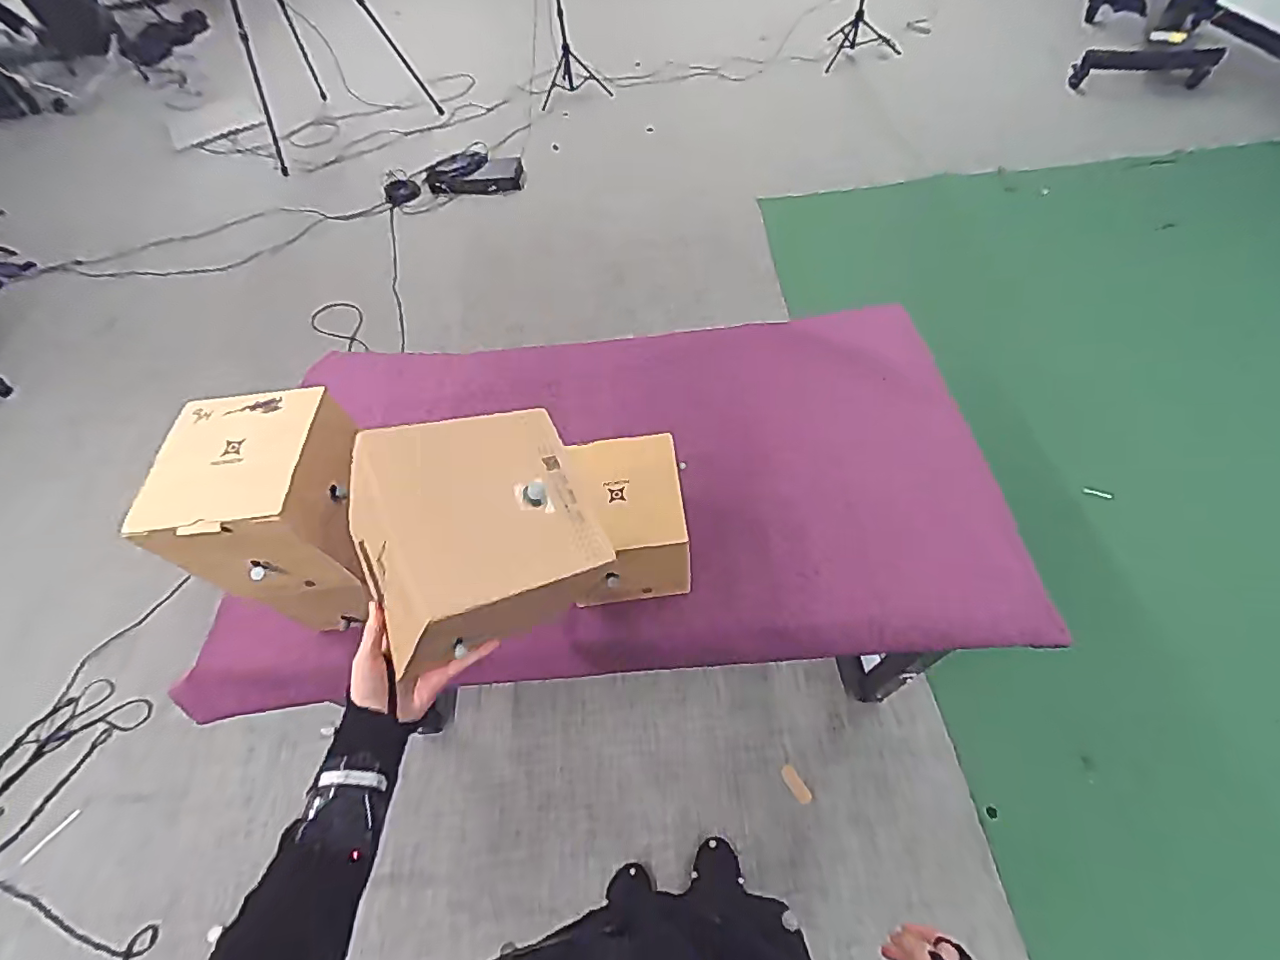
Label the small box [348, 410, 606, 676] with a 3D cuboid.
[{"bbox_3d":[-0.156,0.055,0.501,0.176,0.179,0.168,-14,68,-36],"label":"small box"}]

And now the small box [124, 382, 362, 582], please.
[{"bbox_3d":[-0.422,0.011,0.636,0.168,0.176,0.179,-5,57,1],"label":"small box"}]

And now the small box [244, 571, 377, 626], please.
[{"bbox_3d":[-0.412,0.093,0.778,0.168,0.176,0.179,-7,57,1],"label":"small box"}]

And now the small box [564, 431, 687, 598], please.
[{"bbox_3d":[-0.024,0.057,0.768,0.168,0.176,0.179,-7,54,1],"label":"small box"}]
